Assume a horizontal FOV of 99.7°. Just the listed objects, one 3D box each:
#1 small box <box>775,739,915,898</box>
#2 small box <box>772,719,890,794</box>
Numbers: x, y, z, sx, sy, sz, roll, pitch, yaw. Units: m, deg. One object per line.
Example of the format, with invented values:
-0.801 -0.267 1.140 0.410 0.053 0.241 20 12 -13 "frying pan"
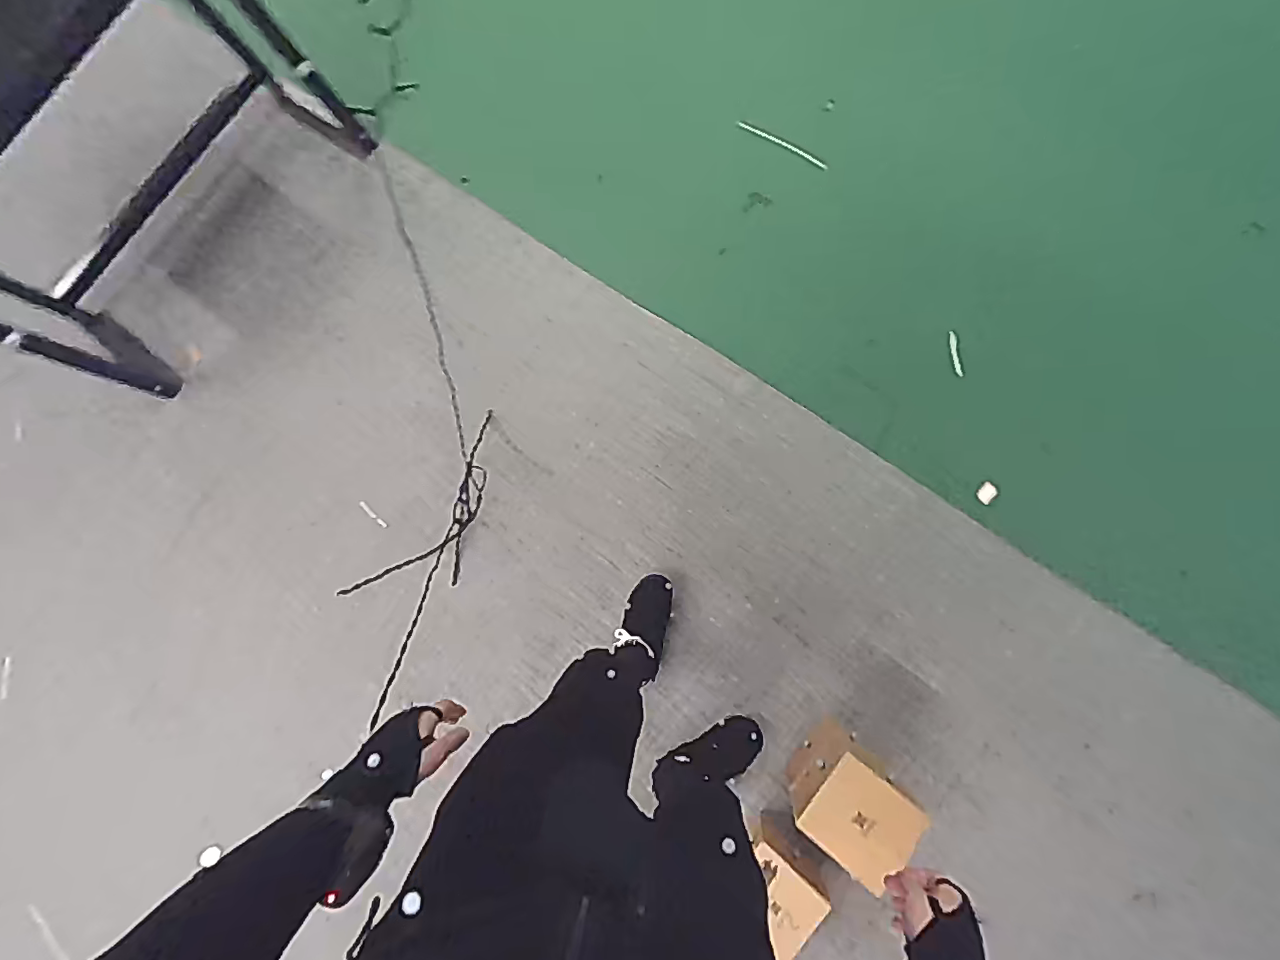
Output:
0.377 0.627 1.034 0.179 0.176 0.168 39 88 15 "small box"
0.408 0.656 1.192 0.179 0.176 0.168 42 90 15 "small box"
